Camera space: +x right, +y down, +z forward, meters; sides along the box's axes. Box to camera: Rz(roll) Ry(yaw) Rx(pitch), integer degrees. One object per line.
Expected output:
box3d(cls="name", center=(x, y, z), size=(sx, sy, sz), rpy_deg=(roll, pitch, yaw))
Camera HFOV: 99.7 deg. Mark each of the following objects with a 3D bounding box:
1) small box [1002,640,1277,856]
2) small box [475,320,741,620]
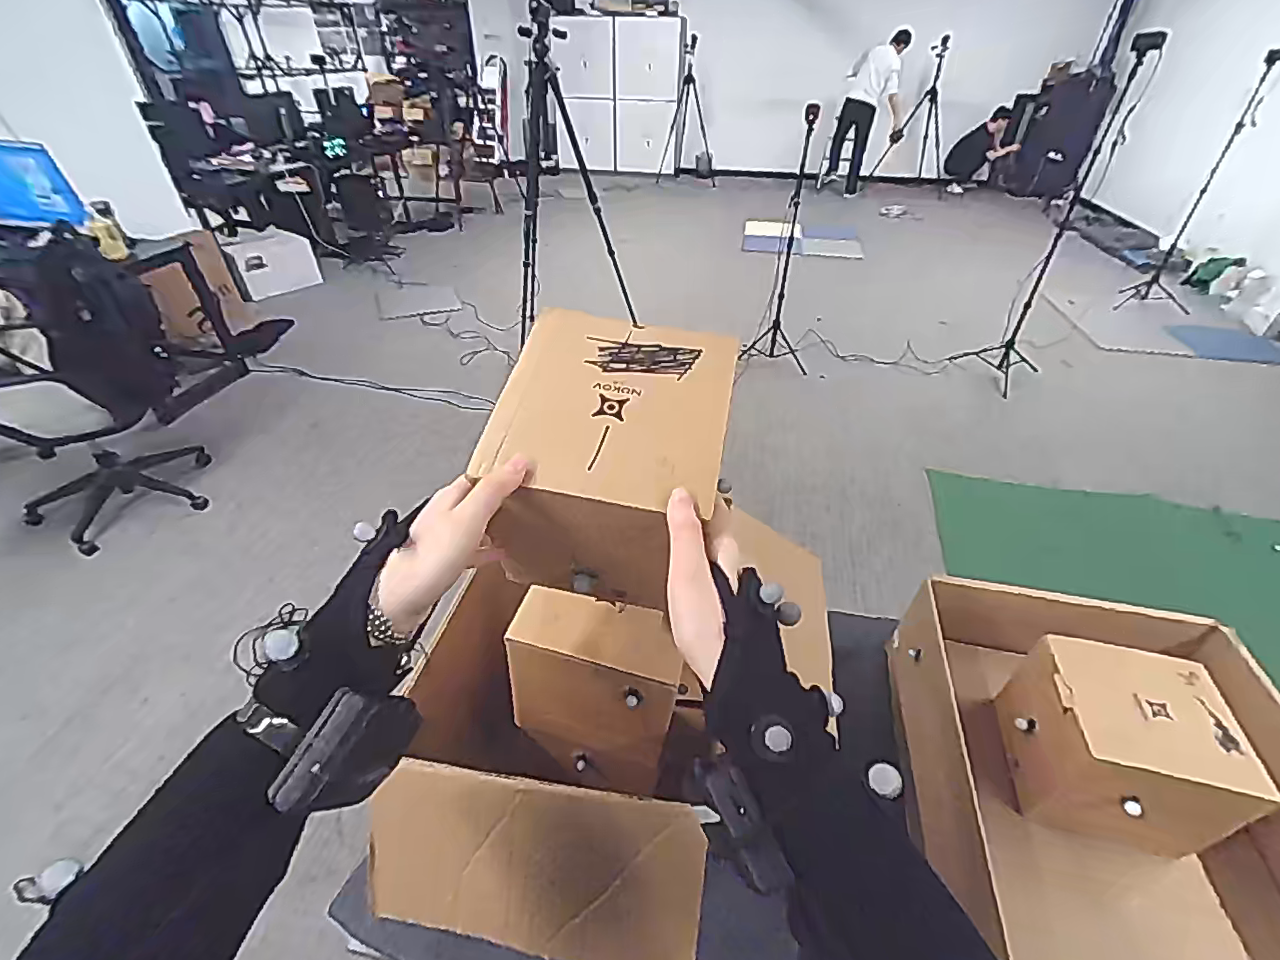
box3d(cls="small box", center=(0.579, 0.329, 0.668), size=(0.179, 0.176, 0.168), rpy_deg=(8, 40, 13))
box3d(cls="small box", center=(-0.017, -0.005, 0.463), size=(0.168, 0.176, 0.179), rpy_deg=(10, 55, 6))
